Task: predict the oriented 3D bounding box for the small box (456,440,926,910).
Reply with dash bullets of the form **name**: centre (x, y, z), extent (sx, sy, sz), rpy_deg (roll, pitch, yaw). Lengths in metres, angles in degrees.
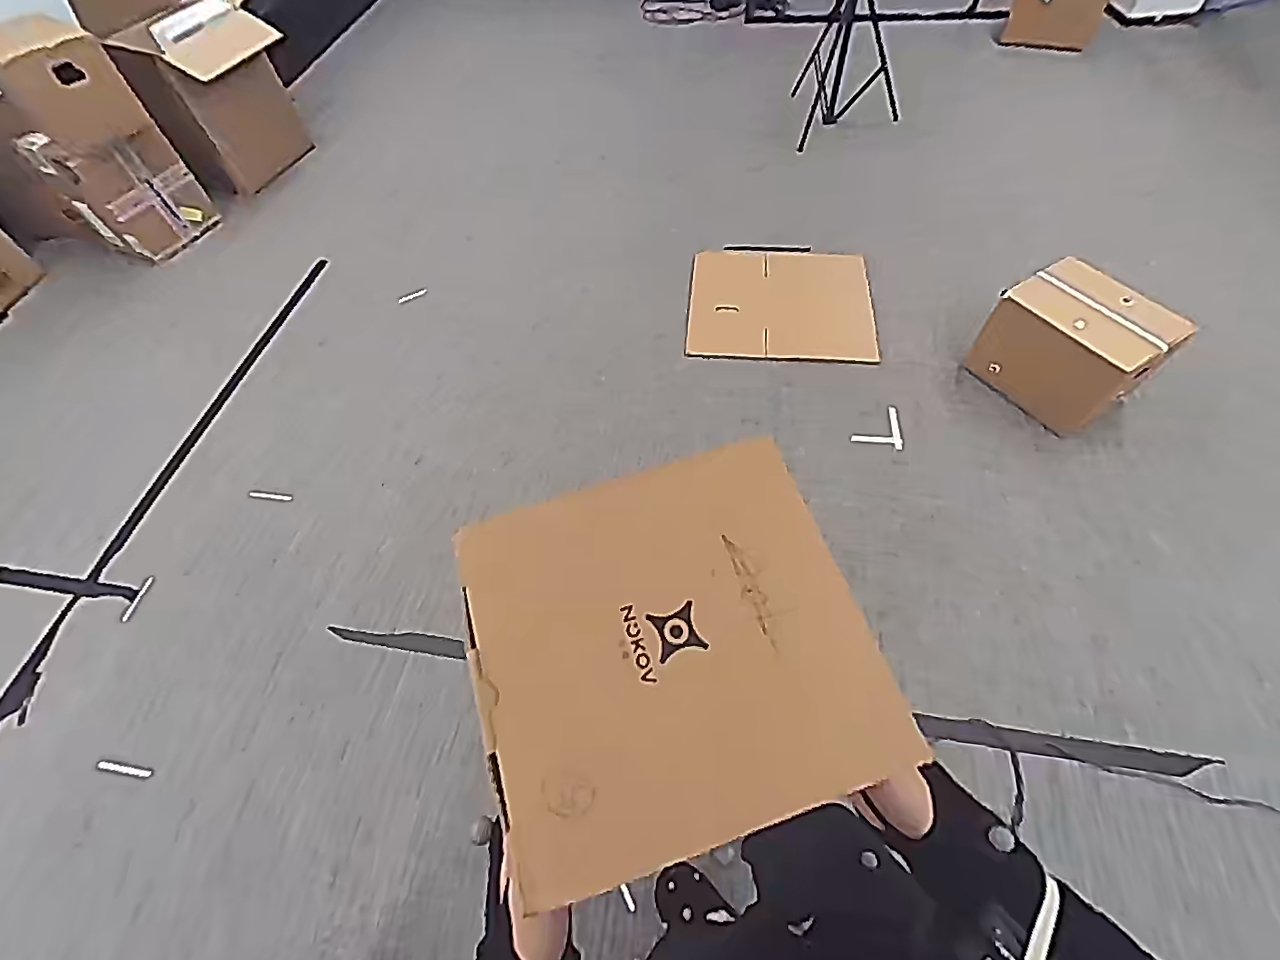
- **small box**: centre (0.015, 0.106, 0.318), extent (0.179, 0.176, 0.168), rpy_deg (-17, 65, -8)
